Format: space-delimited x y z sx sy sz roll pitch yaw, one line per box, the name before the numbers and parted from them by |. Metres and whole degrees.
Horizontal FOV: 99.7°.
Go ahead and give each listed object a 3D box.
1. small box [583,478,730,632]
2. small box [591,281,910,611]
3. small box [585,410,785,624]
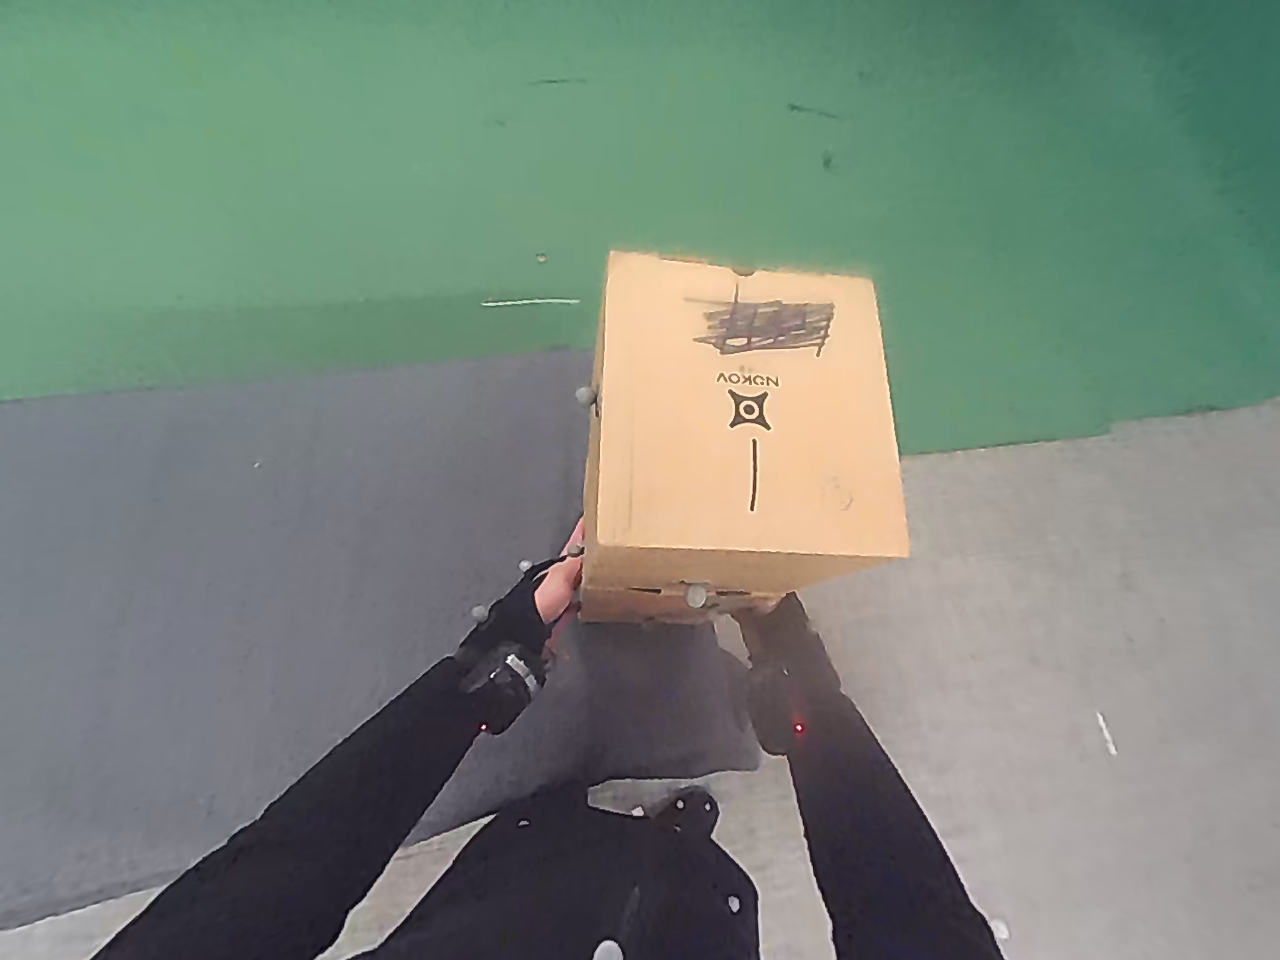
small box | 0.014 0.100 0.686 0.168 0.176 0.179 3 71 -6
small box | 0.054 -0.007 0.379 0.168 0.176 0.179 3 72 -7
small box | 0.033 0.047 0.533 0.168 0.176 0.179 3 70 -7
